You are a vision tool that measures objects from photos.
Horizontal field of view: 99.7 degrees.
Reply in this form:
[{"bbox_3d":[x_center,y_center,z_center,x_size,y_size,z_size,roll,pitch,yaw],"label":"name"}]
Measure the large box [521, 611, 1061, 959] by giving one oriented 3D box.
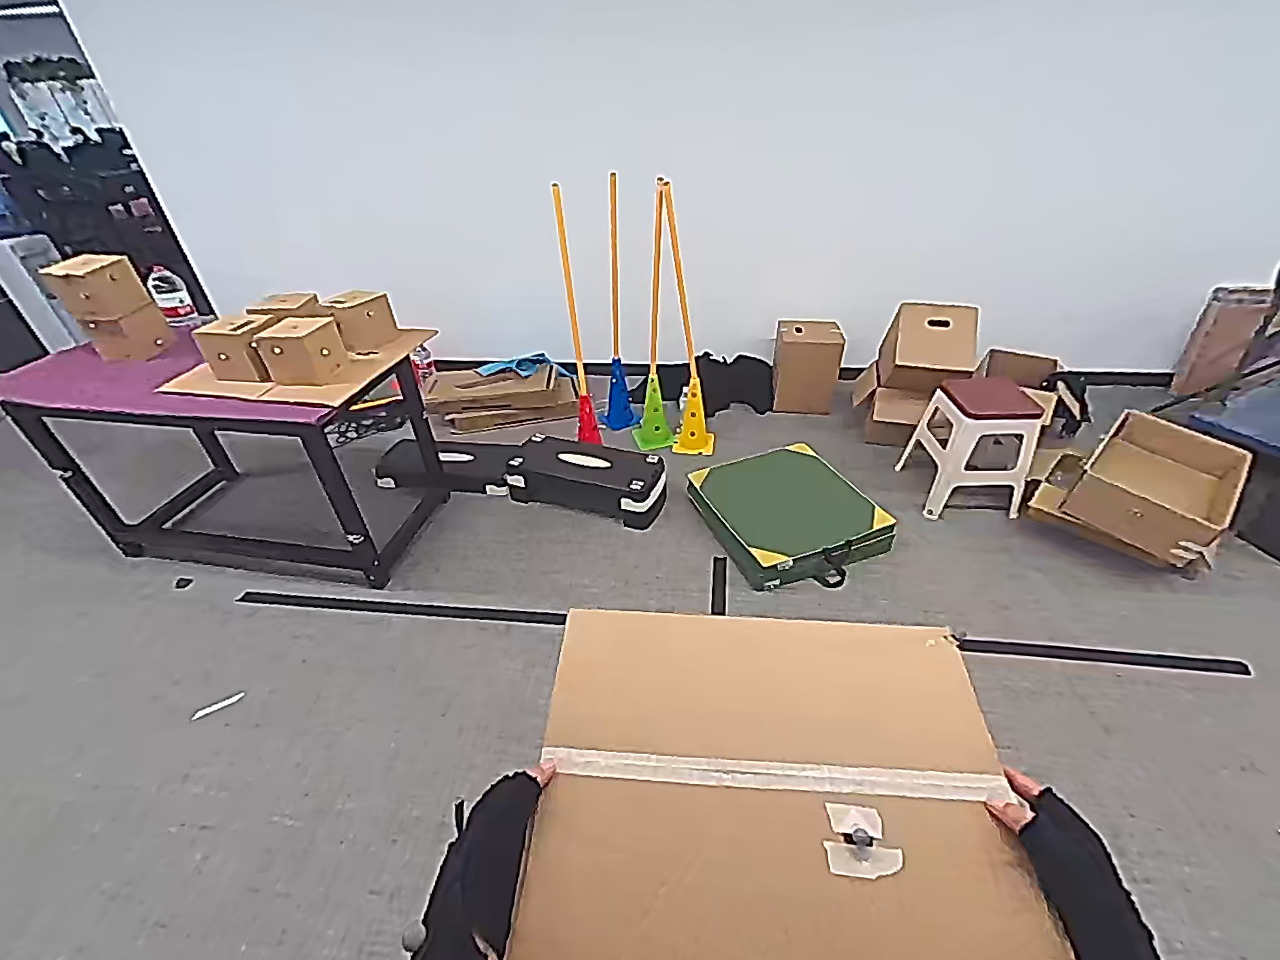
[{"bbox_3d":[0.118,0.365,0.593,0.408,0.320,0.320,2,46,4],"label":"large box"}]
